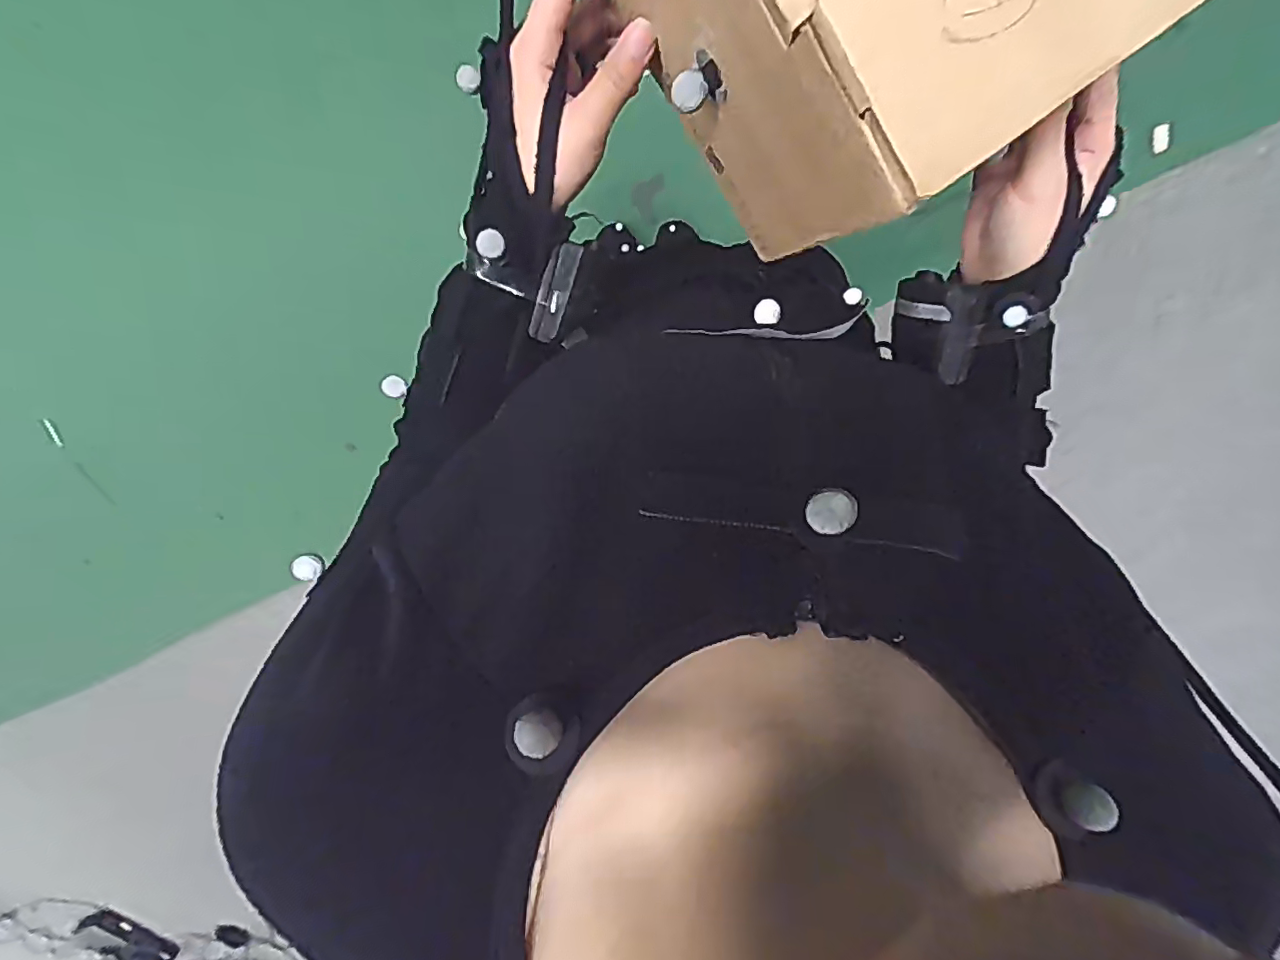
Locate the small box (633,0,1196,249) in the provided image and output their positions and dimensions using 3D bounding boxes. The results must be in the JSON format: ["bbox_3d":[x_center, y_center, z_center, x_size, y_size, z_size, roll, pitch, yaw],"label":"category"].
[{"bbox_3d":[0.100,-0.213,0.205,0.179,0.176,0.168,-34,105,9],"label":"small box"}]
